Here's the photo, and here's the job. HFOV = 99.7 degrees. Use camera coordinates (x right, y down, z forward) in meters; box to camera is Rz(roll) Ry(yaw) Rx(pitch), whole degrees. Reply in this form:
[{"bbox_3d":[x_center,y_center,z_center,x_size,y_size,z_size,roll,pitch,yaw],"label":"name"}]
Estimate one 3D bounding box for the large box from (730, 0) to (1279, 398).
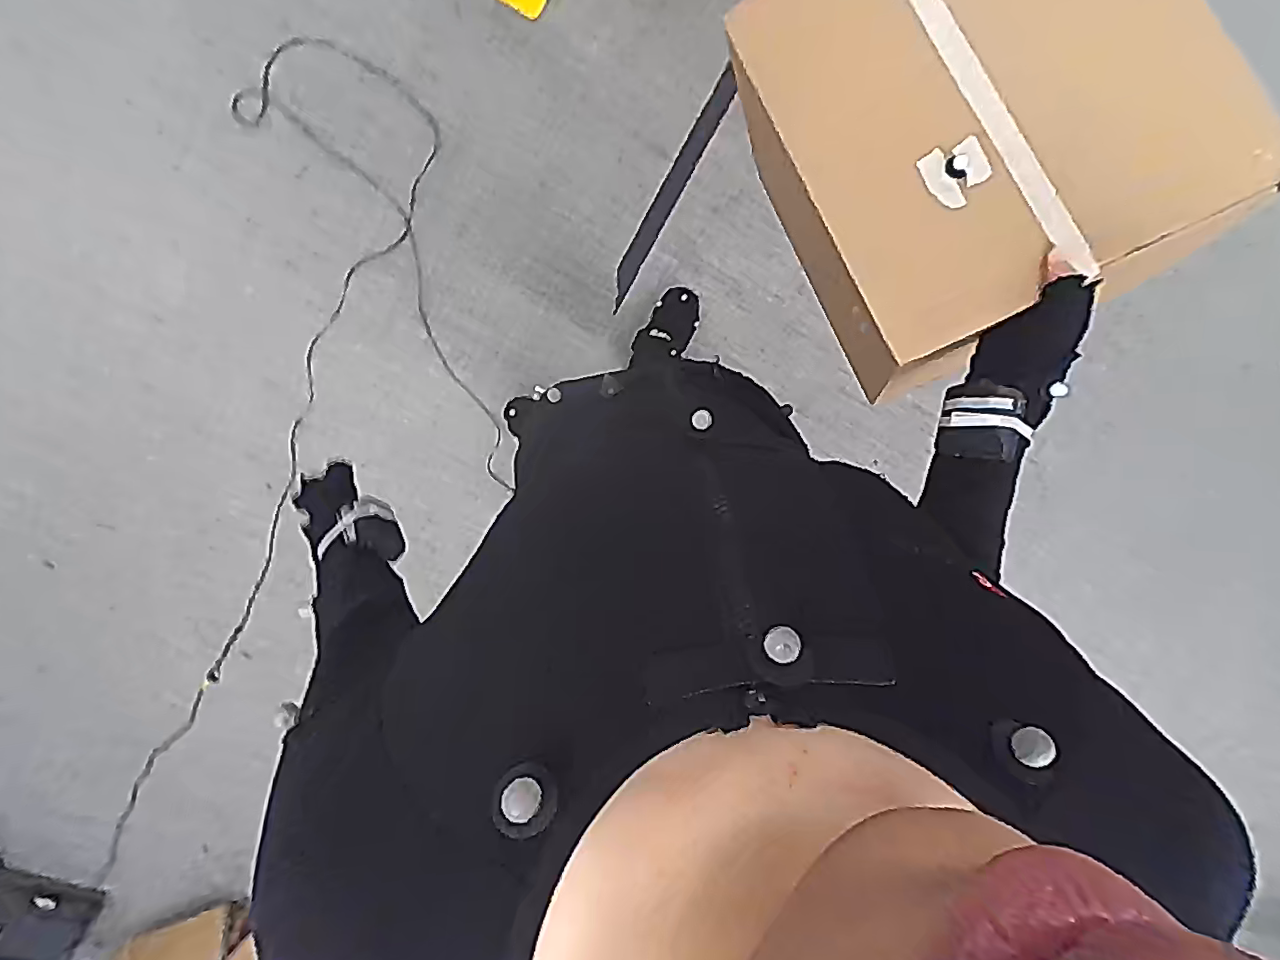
[{"bbox_3d":[0.344,-0.354,0.627,0.320,0.320,0.408,-26,84,18],"label":"large box"}]
